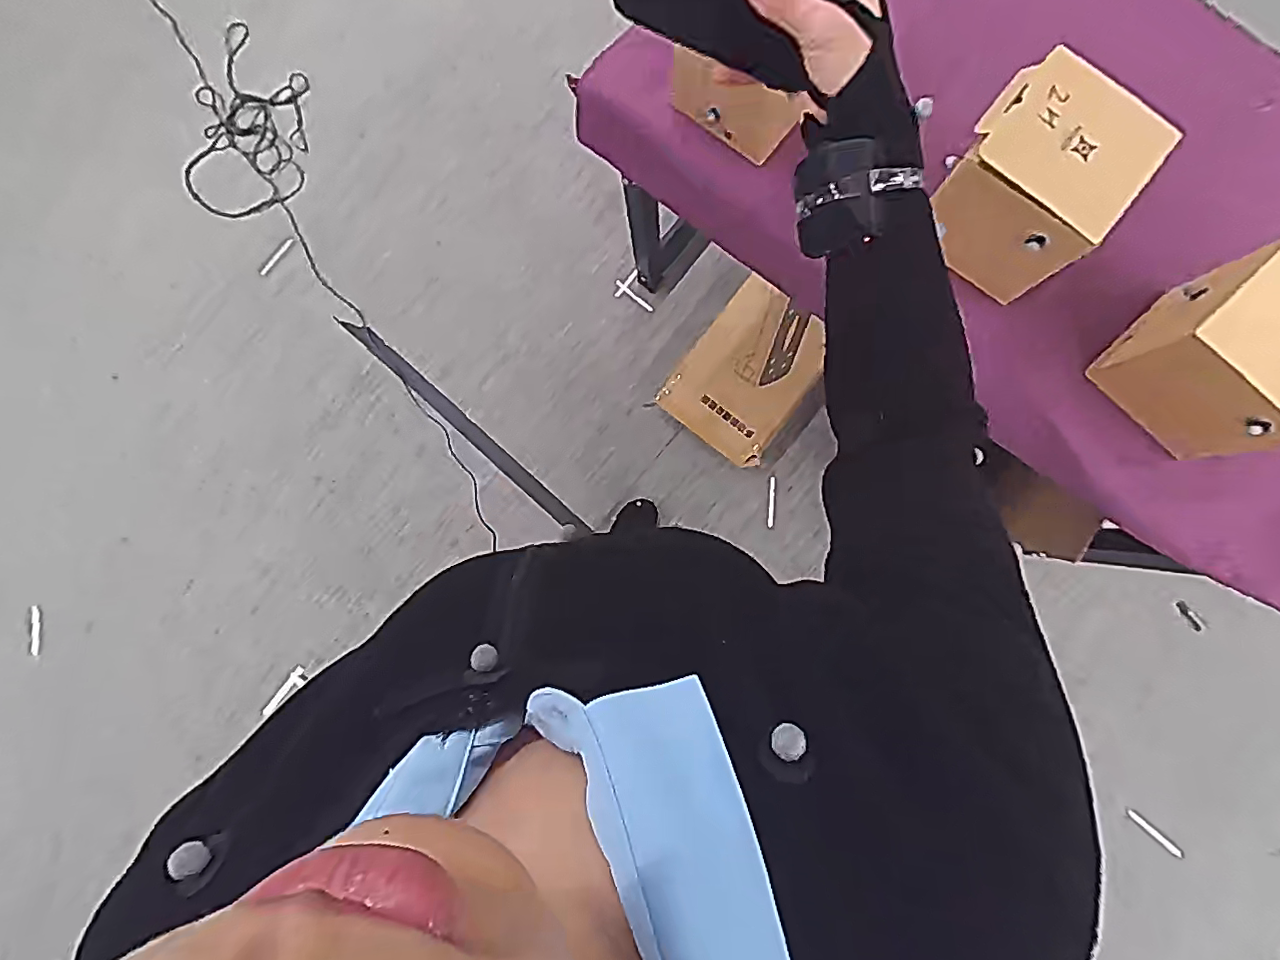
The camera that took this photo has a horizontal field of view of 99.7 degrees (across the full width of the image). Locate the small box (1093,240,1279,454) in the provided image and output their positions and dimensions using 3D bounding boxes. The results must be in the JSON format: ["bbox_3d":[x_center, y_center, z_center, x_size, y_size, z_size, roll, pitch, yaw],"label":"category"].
[{"bbox_3d":[0.724,-0.149,0.658,0.168,0.176,0.179,-44,85,0],"label":"small box"}]

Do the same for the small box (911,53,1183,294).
[{"bbox_3d":[0.492,-0.365,0.684,0.179,0.176,0.168,38,87,5],"label":"small box"}]
